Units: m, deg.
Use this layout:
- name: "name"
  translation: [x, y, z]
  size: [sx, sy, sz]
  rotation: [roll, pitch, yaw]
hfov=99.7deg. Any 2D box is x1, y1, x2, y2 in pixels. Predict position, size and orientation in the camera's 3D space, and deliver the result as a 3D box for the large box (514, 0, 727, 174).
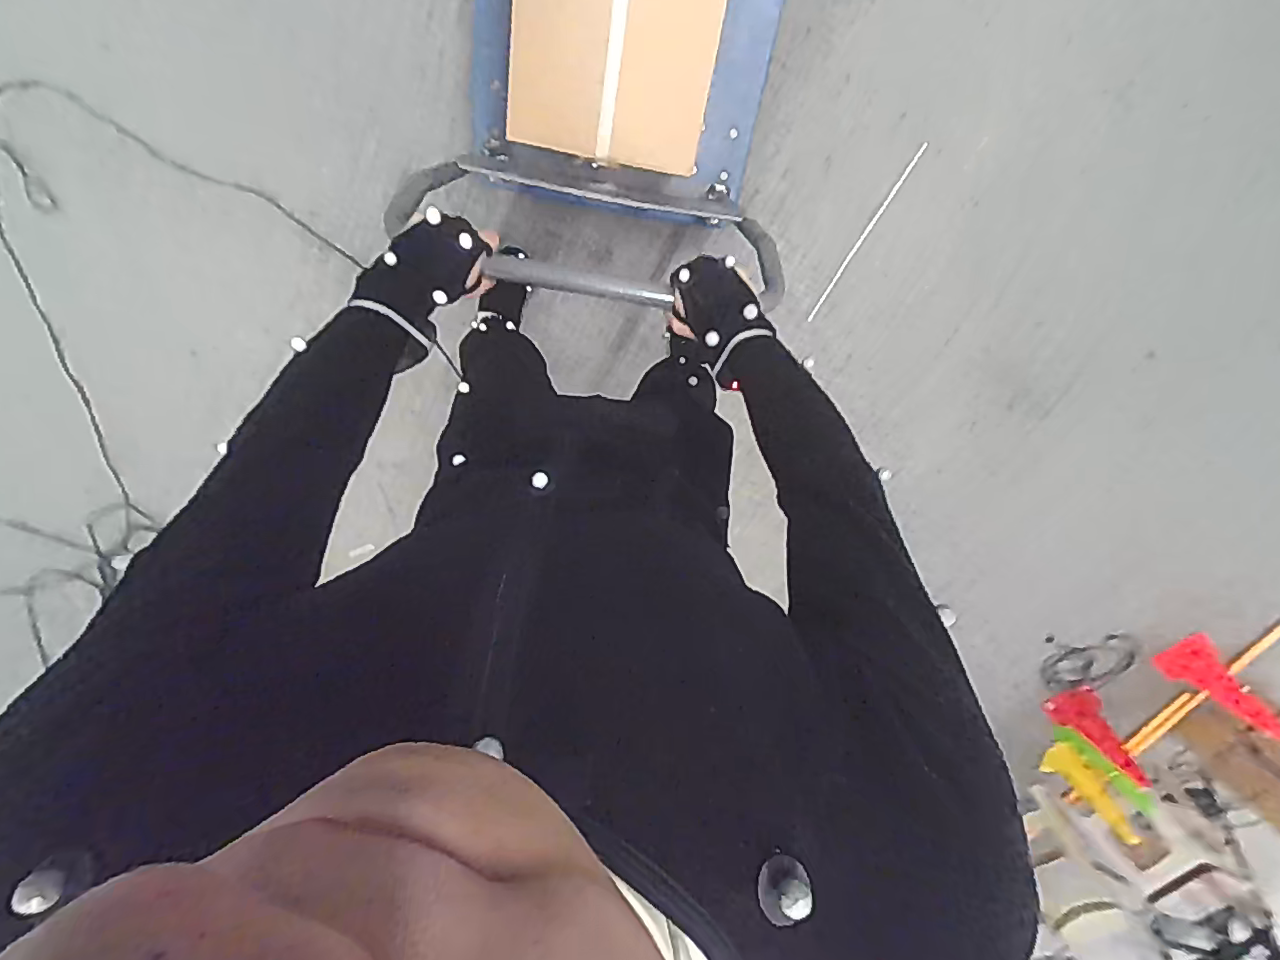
- name: "large box"
  translation: [-0.026, -0.786, 0.941]
  size: [0.320, 0.320, 0.408]
  rotation: [8, 121, -5]
